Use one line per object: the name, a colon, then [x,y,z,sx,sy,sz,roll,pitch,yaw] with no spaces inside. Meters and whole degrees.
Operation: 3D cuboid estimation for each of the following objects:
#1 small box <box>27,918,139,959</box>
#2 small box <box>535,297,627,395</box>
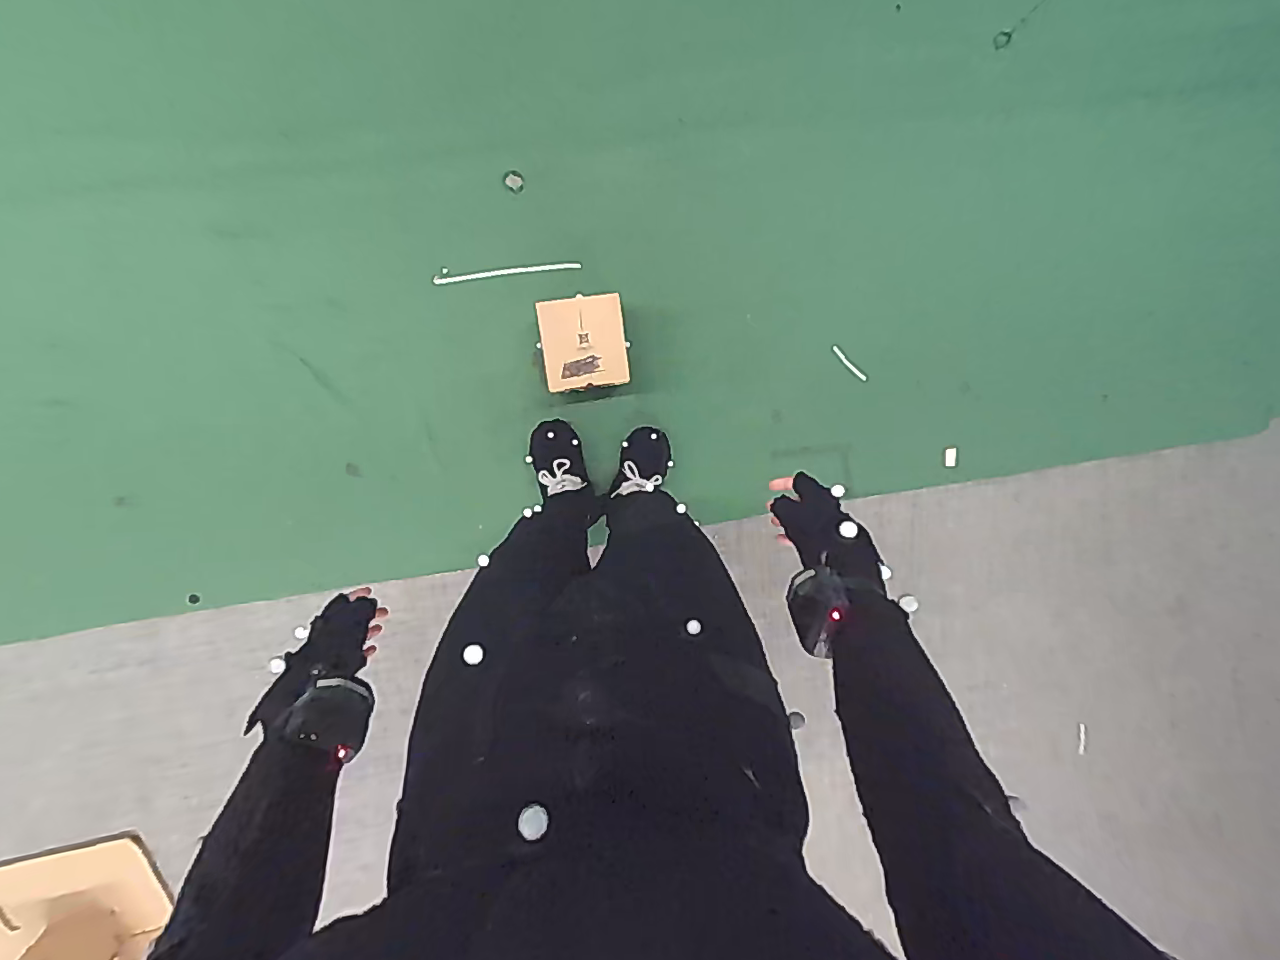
small box: [-1.410,1.237,1.329,0.179,0.176,0.168,-14,103,-4]
small box: [-0.123,-0.282,1.146,0.168,0.176,0.179,-8,103,-5]
